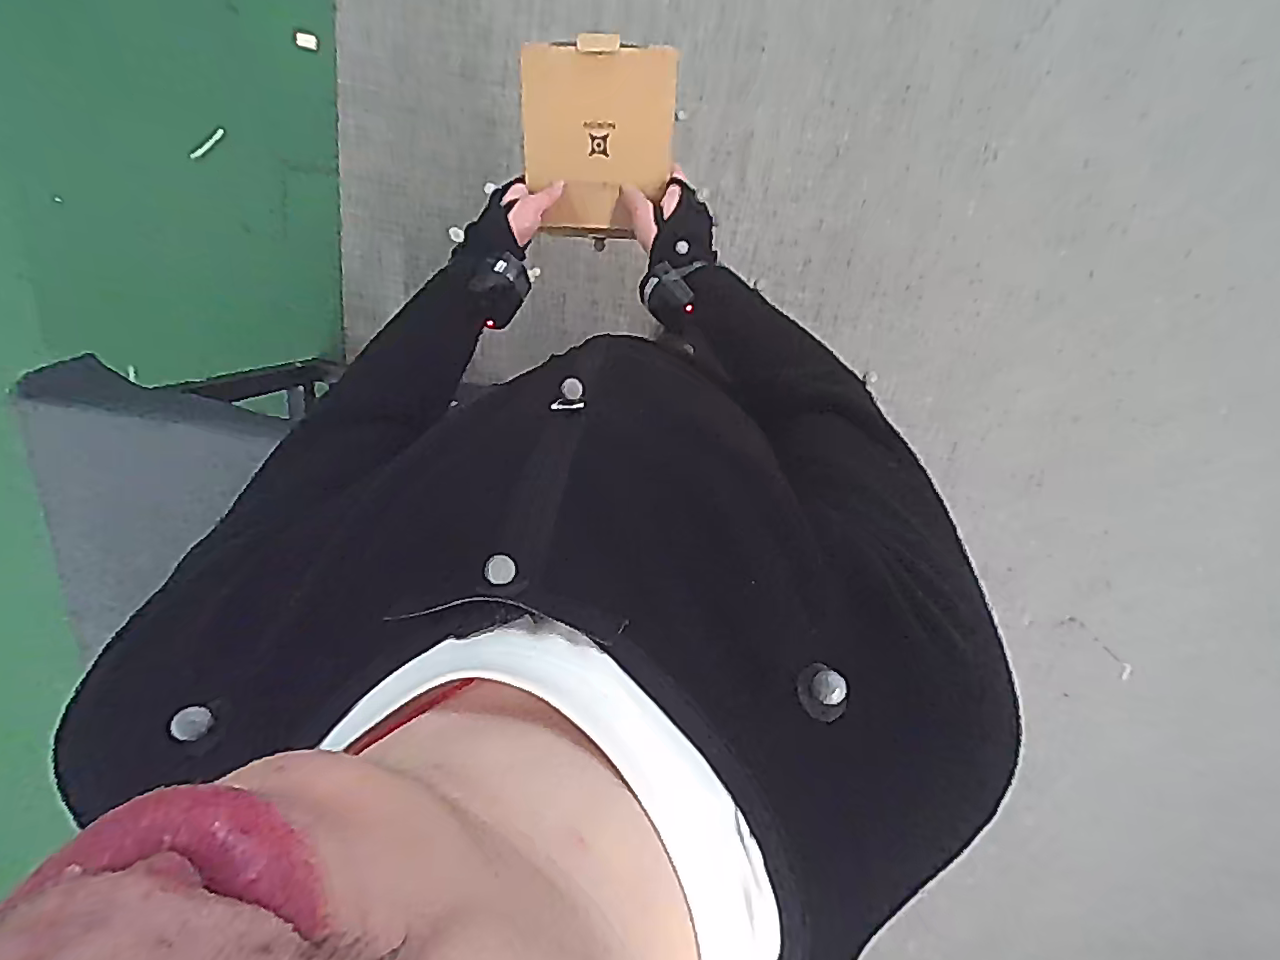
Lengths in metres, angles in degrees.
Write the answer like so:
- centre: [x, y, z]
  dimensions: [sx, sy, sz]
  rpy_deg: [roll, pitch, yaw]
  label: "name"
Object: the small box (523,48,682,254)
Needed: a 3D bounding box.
- centre: [-0.042, -0.379, 0.655]
  dimensions: [0.168, 0.176, 0.179]
  rpy_deg: [5, 109, 1]
  label: "small box"
